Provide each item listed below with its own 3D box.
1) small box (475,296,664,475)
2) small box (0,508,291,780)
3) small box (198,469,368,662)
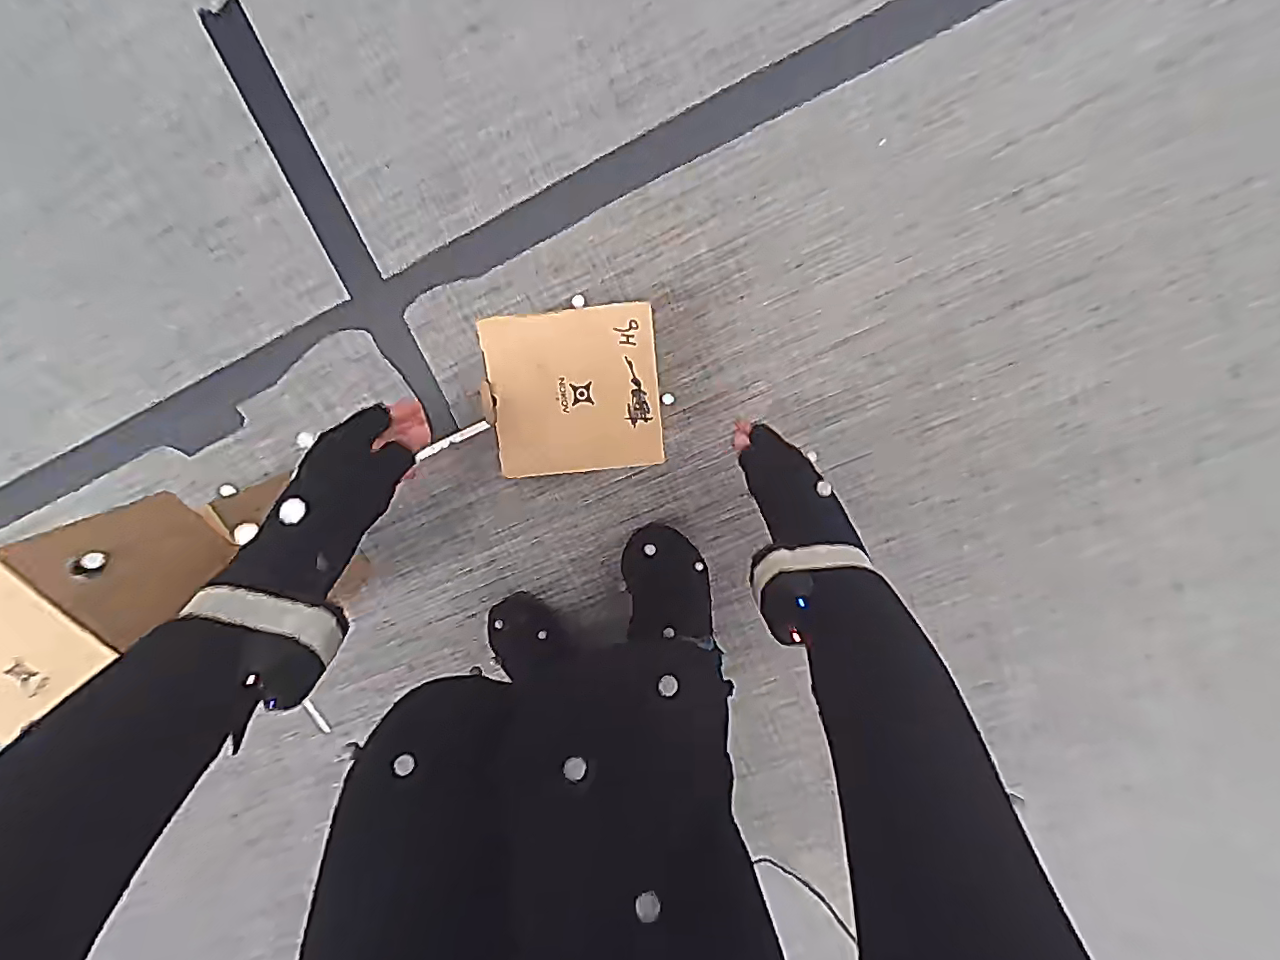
[{"bbox_3d":[-0.067,-0.112,0.628,0.179,0.176,0.168,-7,106,3],"label":"small box"},{"bbox_3d":[-0.517,0.148,0.550,0.168,0.176,0.179,-37,104,13],"label":"small box"},{"bbox_3d":[-0.501,0.109,0.710,0.168,0.176,0.179,-24,104,9],"label":"small box"}]
